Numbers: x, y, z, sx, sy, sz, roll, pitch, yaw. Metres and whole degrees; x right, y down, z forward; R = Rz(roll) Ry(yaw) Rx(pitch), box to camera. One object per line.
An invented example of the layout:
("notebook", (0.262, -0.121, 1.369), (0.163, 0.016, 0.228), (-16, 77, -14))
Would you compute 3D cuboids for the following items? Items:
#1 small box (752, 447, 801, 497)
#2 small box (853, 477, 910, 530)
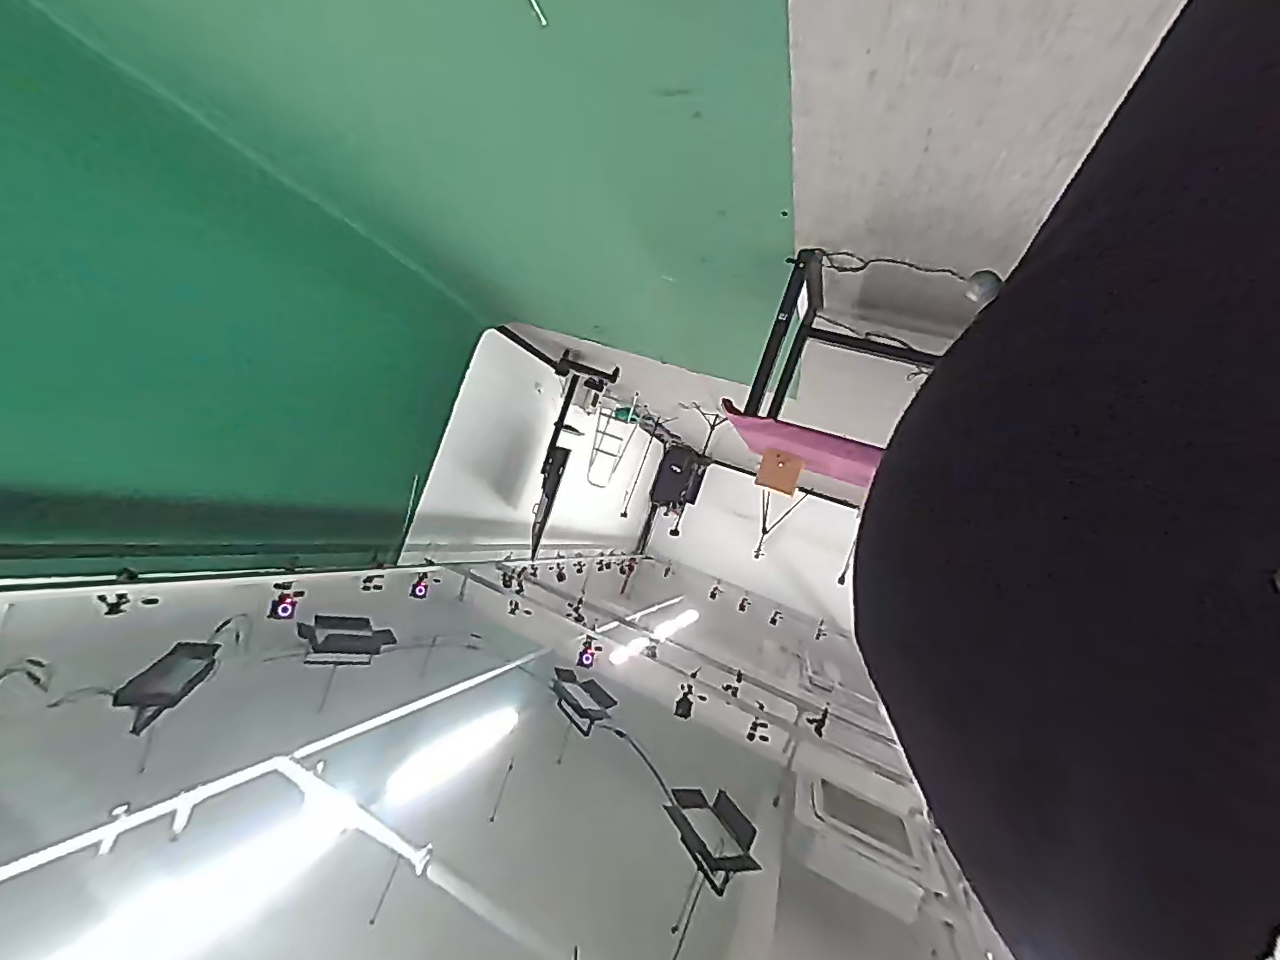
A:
("small box", (0.604, -0.036, 2.382), (0.168, 0.176, 0.179), (18, 179, 17))
("small box", (1.001, 0.099, 2.244), (0.168, 0.176, 0.179), (20, 179, 19))
